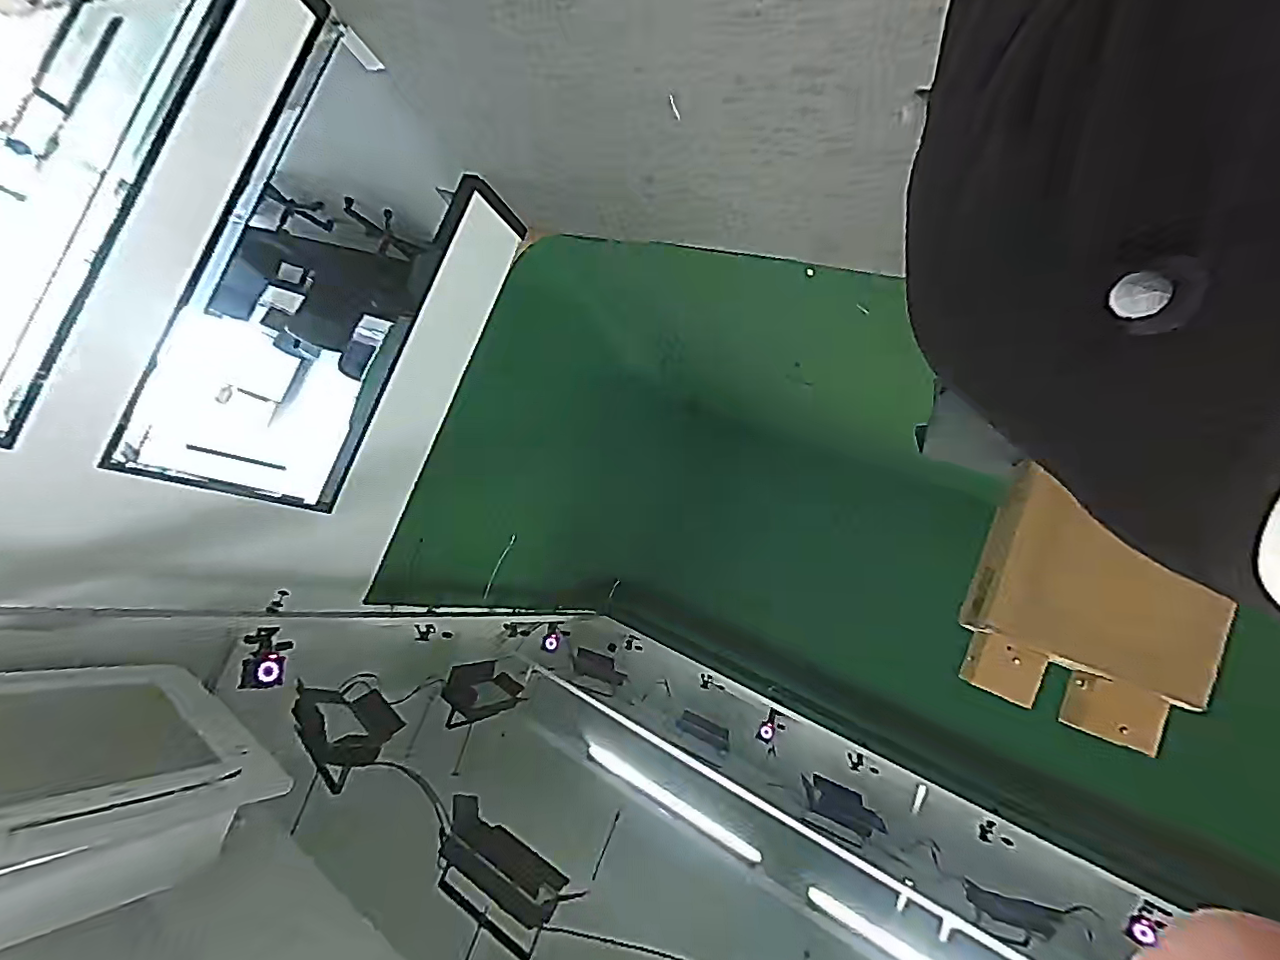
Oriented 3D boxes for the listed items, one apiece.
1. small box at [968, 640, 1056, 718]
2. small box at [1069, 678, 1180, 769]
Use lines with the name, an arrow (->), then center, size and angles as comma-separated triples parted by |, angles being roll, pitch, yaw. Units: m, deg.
small box -> 1.173, 0.618, 1.708 | 0.168, 0.176, 0.179 | 22, 173, 22
small box -> 1.419, 0.704, 1.585 | 0.179, 0.176, 0.168 | 22, 172, 22
